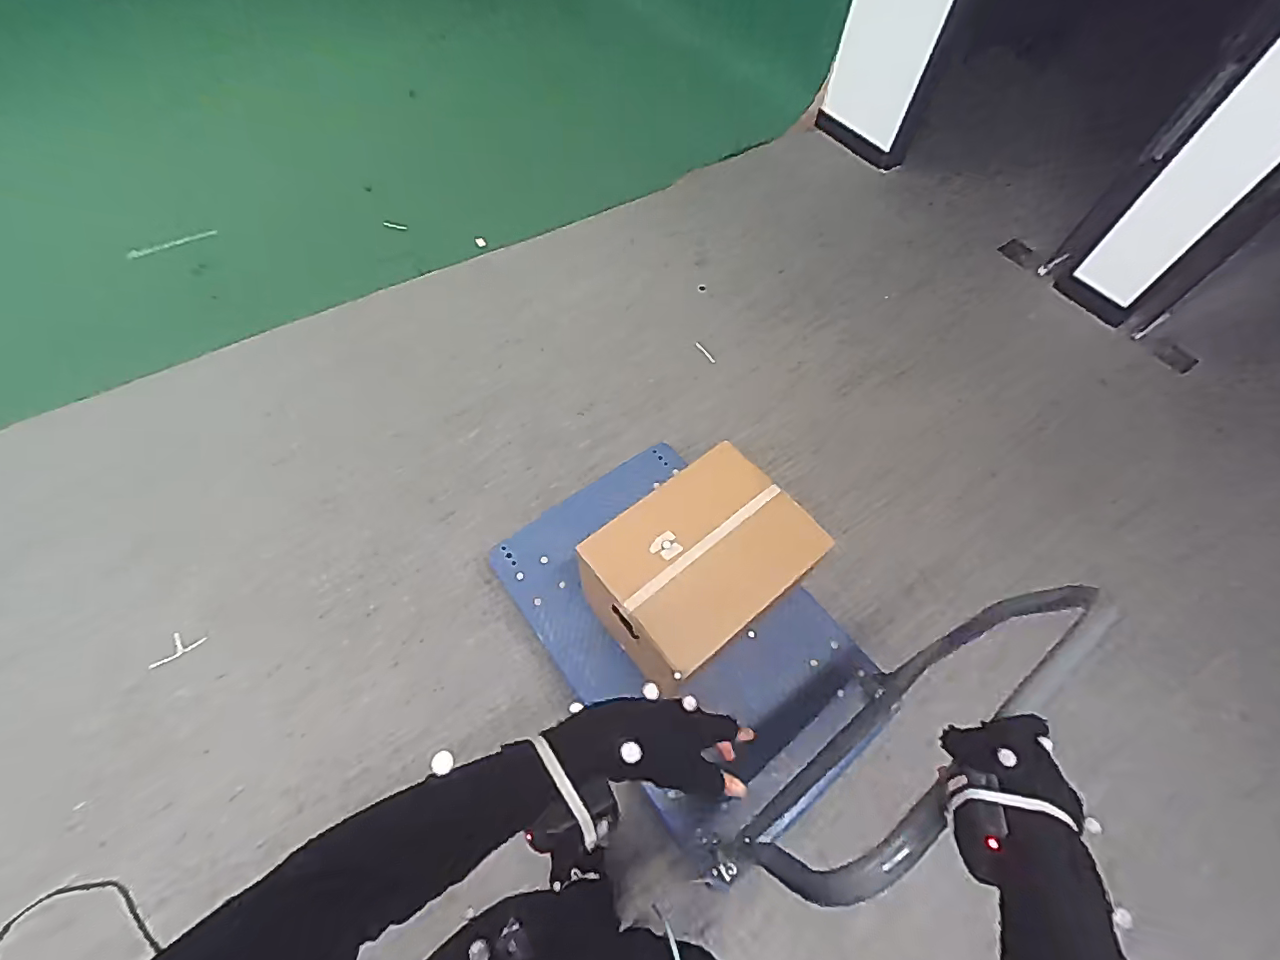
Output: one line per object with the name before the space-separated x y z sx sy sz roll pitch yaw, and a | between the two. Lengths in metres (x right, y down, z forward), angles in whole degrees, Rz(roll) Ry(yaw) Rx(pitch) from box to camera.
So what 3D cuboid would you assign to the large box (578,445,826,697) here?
large box | 0.121 0.203 1.183 0.408 0.320 0.320 -35 67 -19
